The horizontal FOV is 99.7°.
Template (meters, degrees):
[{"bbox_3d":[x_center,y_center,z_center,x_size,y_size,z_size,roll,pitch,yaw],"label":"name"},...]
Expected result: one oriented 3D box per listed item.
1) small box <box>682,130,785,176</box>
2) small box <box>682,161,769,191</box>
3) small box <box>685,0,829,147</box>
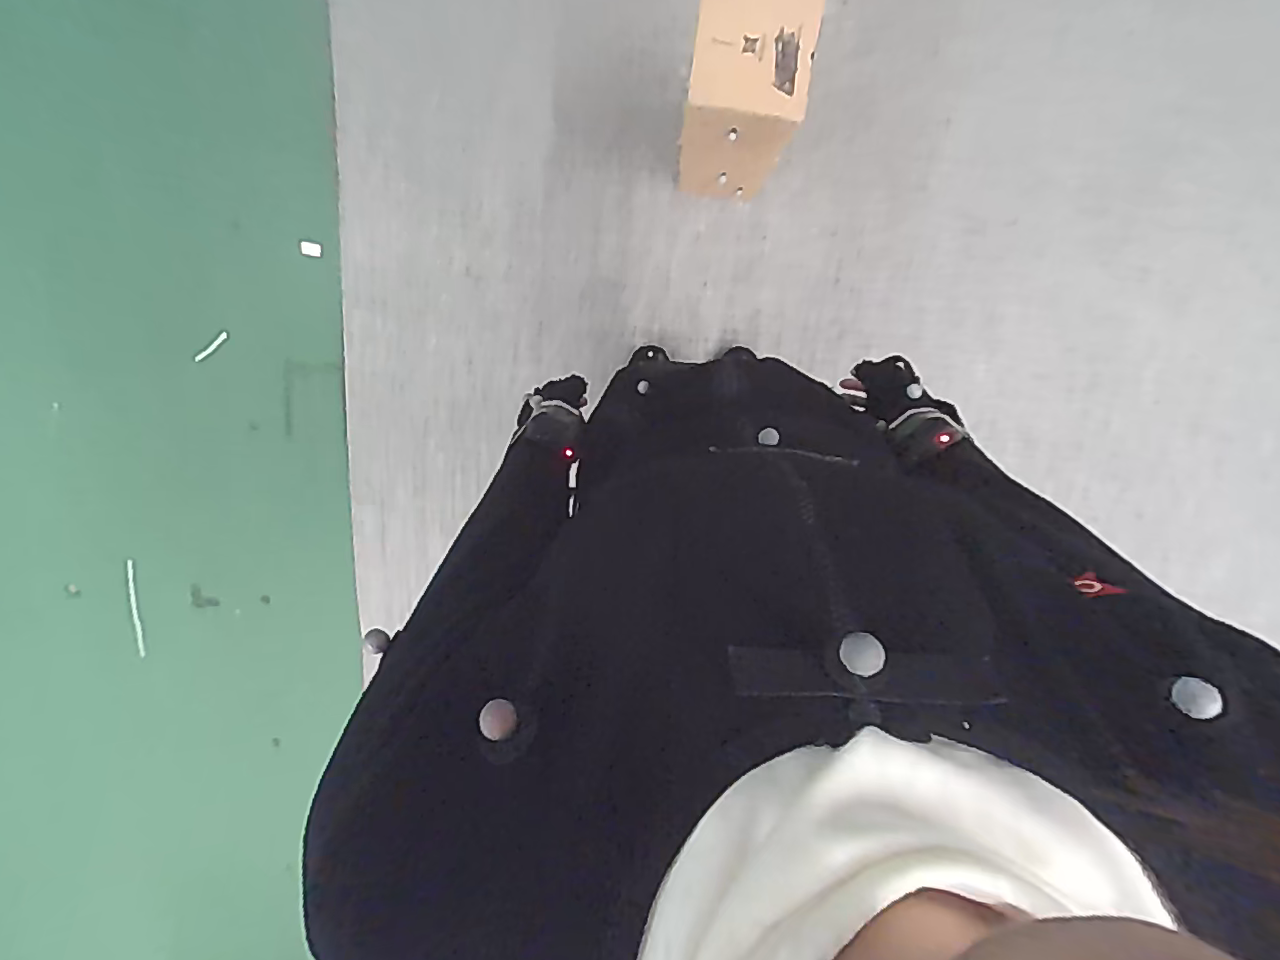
[{"bbox_3d":[0.180,-0.683,1.003,0.179,0.176,0.168,10,106,-1],"label":"small box"},{"bbox_3d":[0.188,-0.733,1.159,0.179,0.176,0.168,7,105,2],"label":"small box"},{"bbox_3d":[0.171,-0.641,0.844,0.179,0.176,0.168,5,106,-1],"label":"small box"}]
